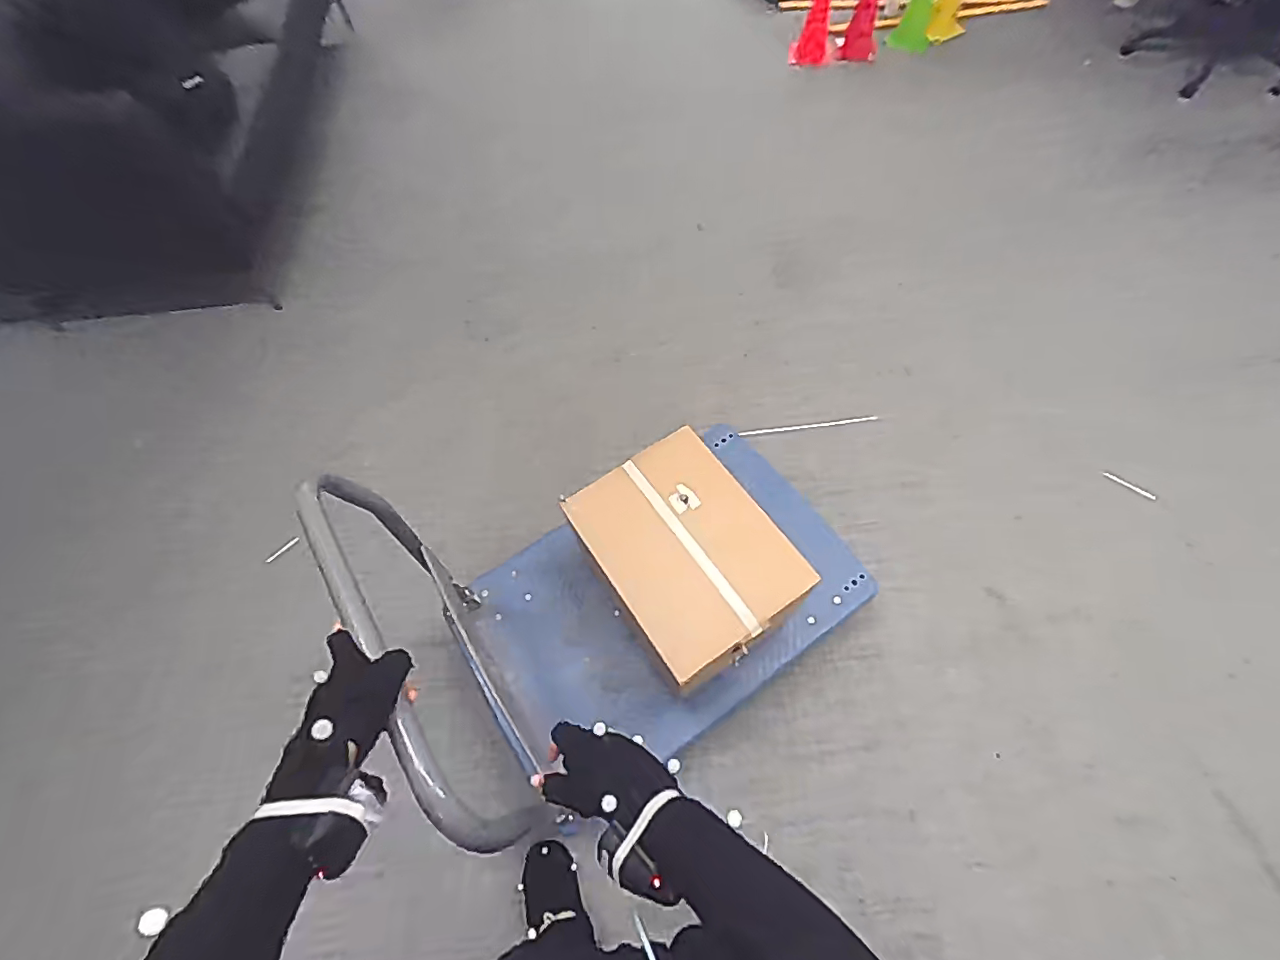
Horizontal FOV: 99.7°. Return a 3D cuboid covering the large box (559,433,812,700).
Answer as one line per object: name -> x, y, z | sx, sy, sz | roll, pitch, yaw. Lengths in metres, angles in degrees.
large box -> 0.086, 0.187, 1.144 | 0.320, 0.320, 0.408 | -31, 64, -14
